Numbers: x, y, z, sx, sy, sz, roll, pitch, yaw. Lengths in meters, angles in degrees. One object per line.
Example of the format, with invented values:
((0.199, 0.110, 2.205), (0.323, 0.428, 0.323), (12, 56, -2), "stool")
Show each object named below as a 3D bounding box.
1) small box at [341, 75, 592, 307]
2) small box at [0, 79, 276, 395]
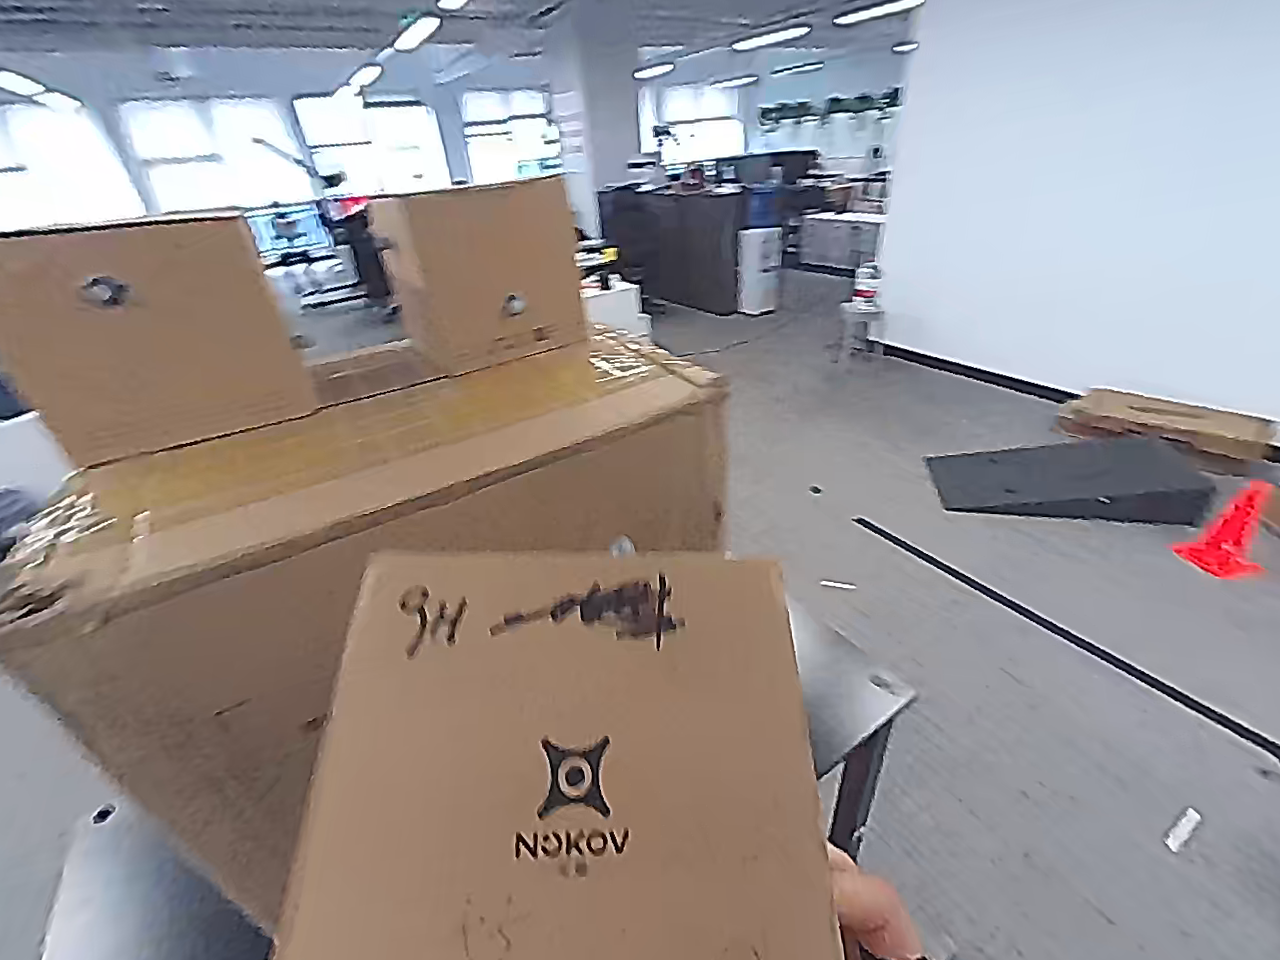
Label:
((-0.164, -0.275, 0.526), (0.168, 0.176, 0.179), (-24, 35, -26), "small box")
((-0.398, -0.173, 0.394), (0.179, 0.176, 0.168), (-20, 34, -26), "small box")
